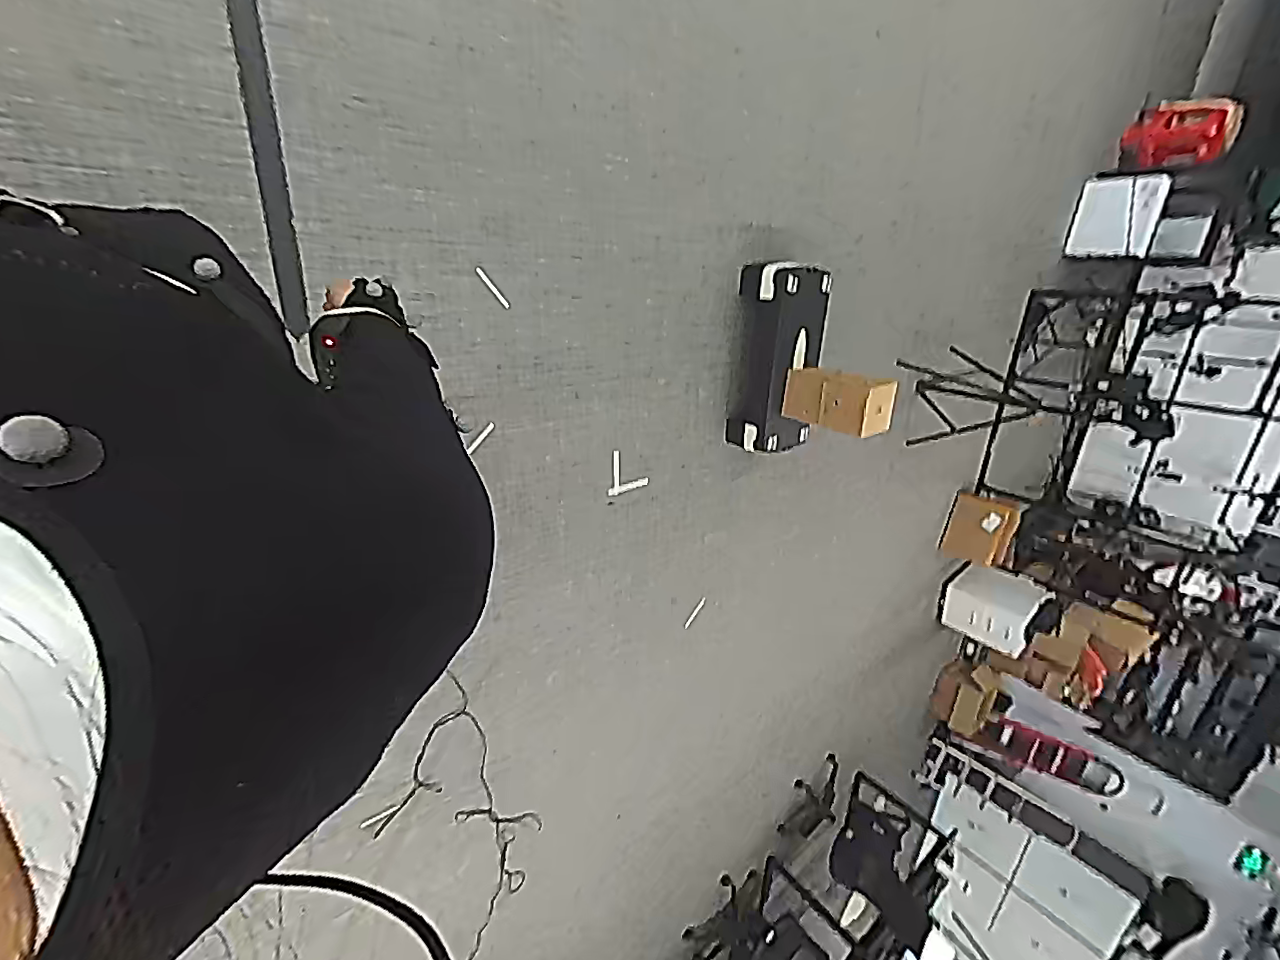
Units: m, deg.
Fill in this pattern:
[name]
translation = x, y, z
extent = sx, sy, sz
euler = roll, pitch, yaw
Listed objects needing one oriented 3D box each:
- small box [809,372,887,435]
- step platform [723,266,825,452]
[small box]
translation = 0.707, -0.266, 1.845
extent = 0.179, 0.176, 0.168
euler = -17, 119, -35
[step platform]
translation = 0.509, -0.450, 2.062
extent = 0.286, 0.204, 0.684
euler = -15, 117, -37
